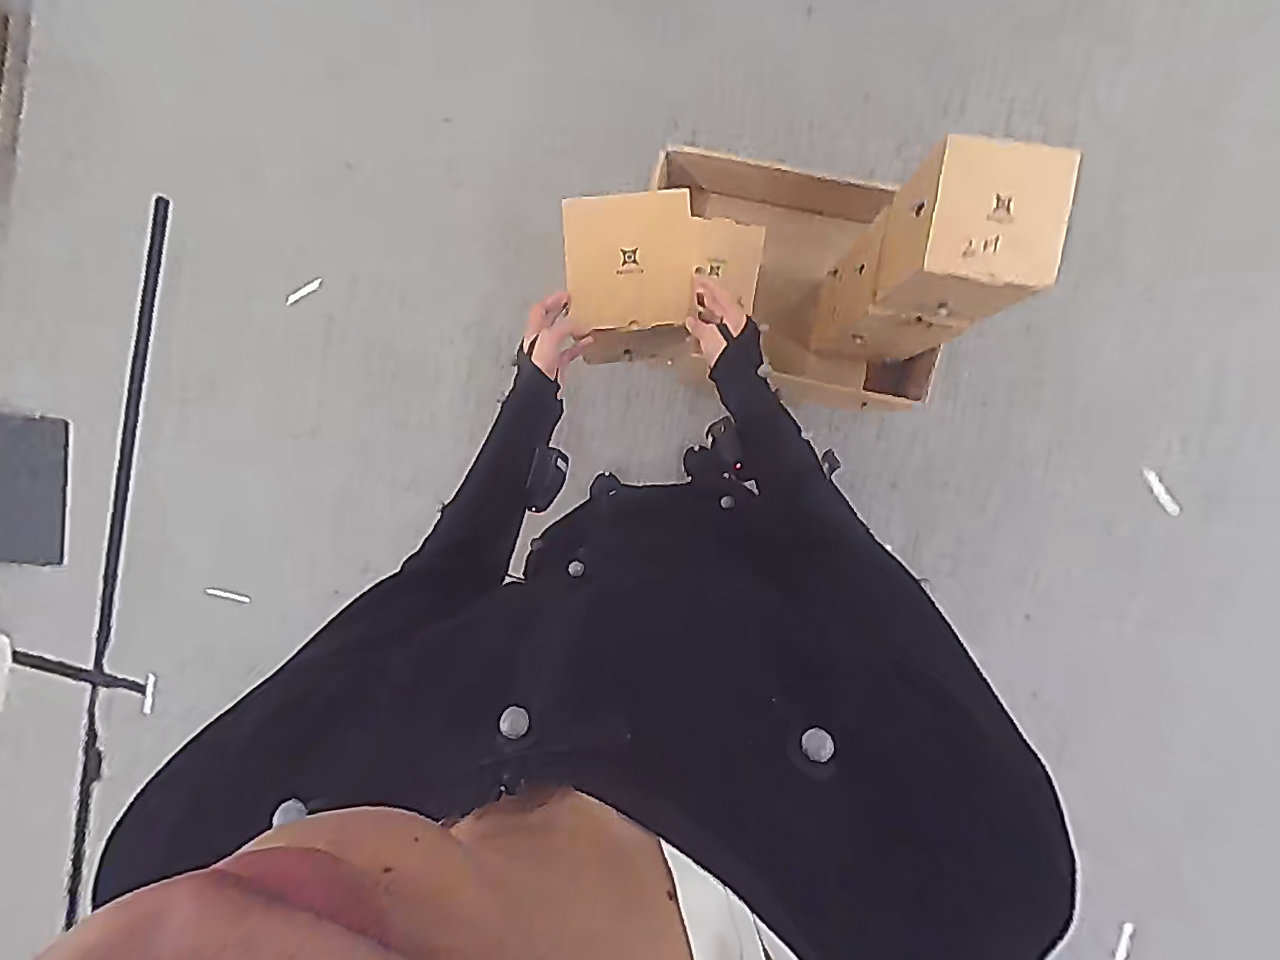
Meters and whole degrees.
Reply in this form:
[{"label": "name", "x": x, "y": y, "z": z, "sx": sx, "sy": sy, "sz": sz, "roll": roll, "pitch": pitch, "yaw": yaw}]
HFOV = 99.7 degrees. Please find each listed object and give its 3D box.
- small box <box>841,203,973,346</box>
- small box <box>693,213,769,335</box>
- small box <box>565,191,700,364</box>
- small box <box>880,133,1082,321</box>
[{"label": "small box", "x": 0.459, "y": -0.338, "z": 0.923, "sx": 0.168, "sy": 0.176, "sz": 0.179, "roll": 10, "pitch": 93, "yaw": 3}, {"label": "small box", "x": 0.156, "y": -0.413, "z": 1.108, "sx": 0.168, "sy": 0.176, "sz": 0.179, "roll": 10, "pitch": 93, "yaw": 5}, {"label": "small box", "x": -0.010, "y": -0.274, "z": 0.765, "sx": 0.168, "sy": 0.176, "sz": 0.179, "roll": -5, "pitch": 90, "yaw": 1}, {"label": "small box", "x": 0.459, "y": -0.341, "z": 0.758, "sx": 0.168, "sy": 0.176, "sz": 0.179, "roll": 10, "pitch": 94, "yaw": 3}]
